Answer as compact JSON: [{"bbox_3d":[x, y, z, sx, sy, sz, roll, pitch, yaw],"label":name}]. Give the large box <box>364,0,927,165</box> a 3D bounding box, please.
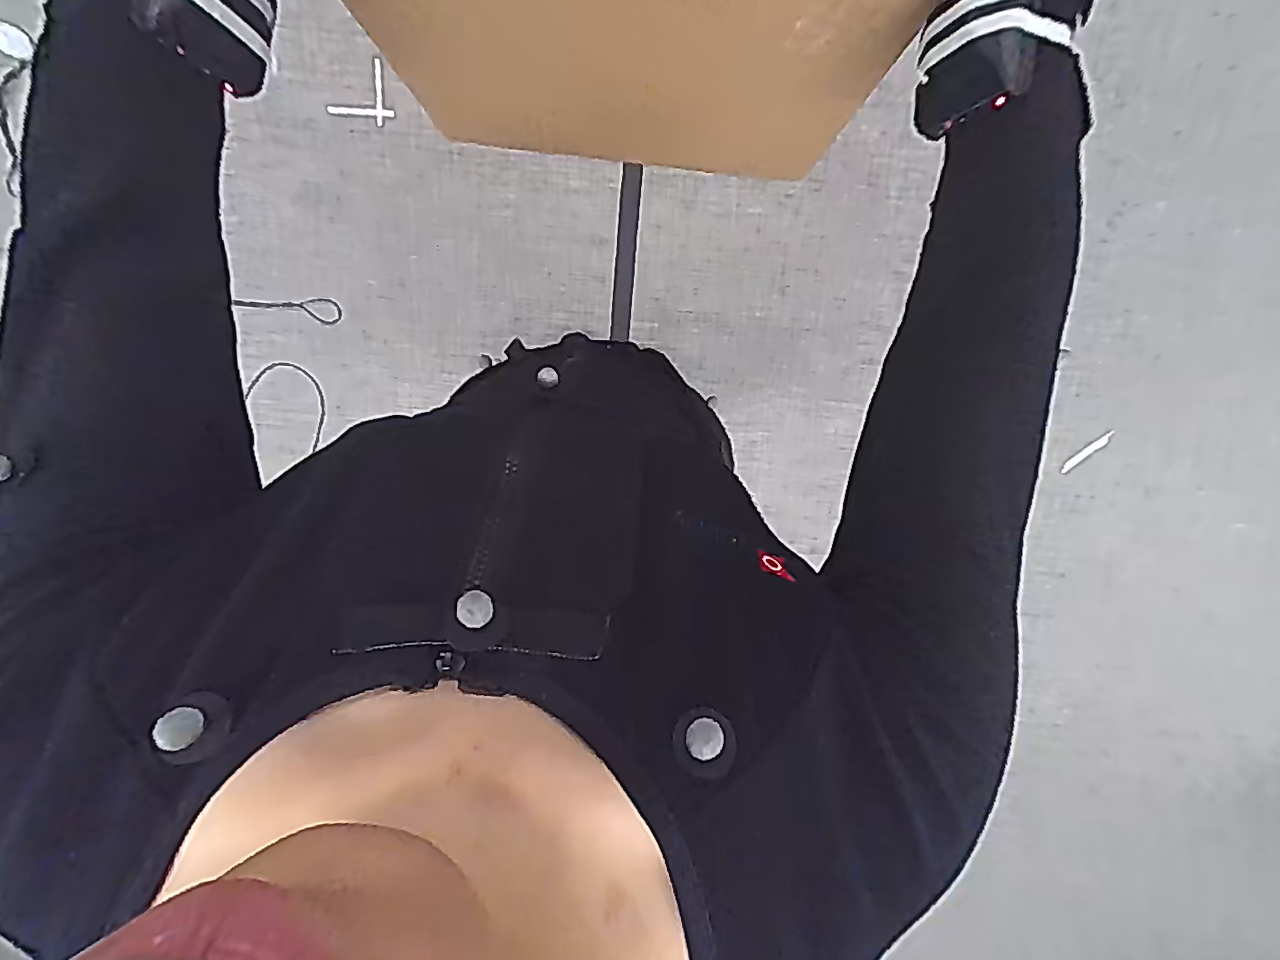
[{"bbox_3d":[0.002,-0.490,0.433,0.408,0.320,0.320,5,100,-2],"label":"large box"}]
